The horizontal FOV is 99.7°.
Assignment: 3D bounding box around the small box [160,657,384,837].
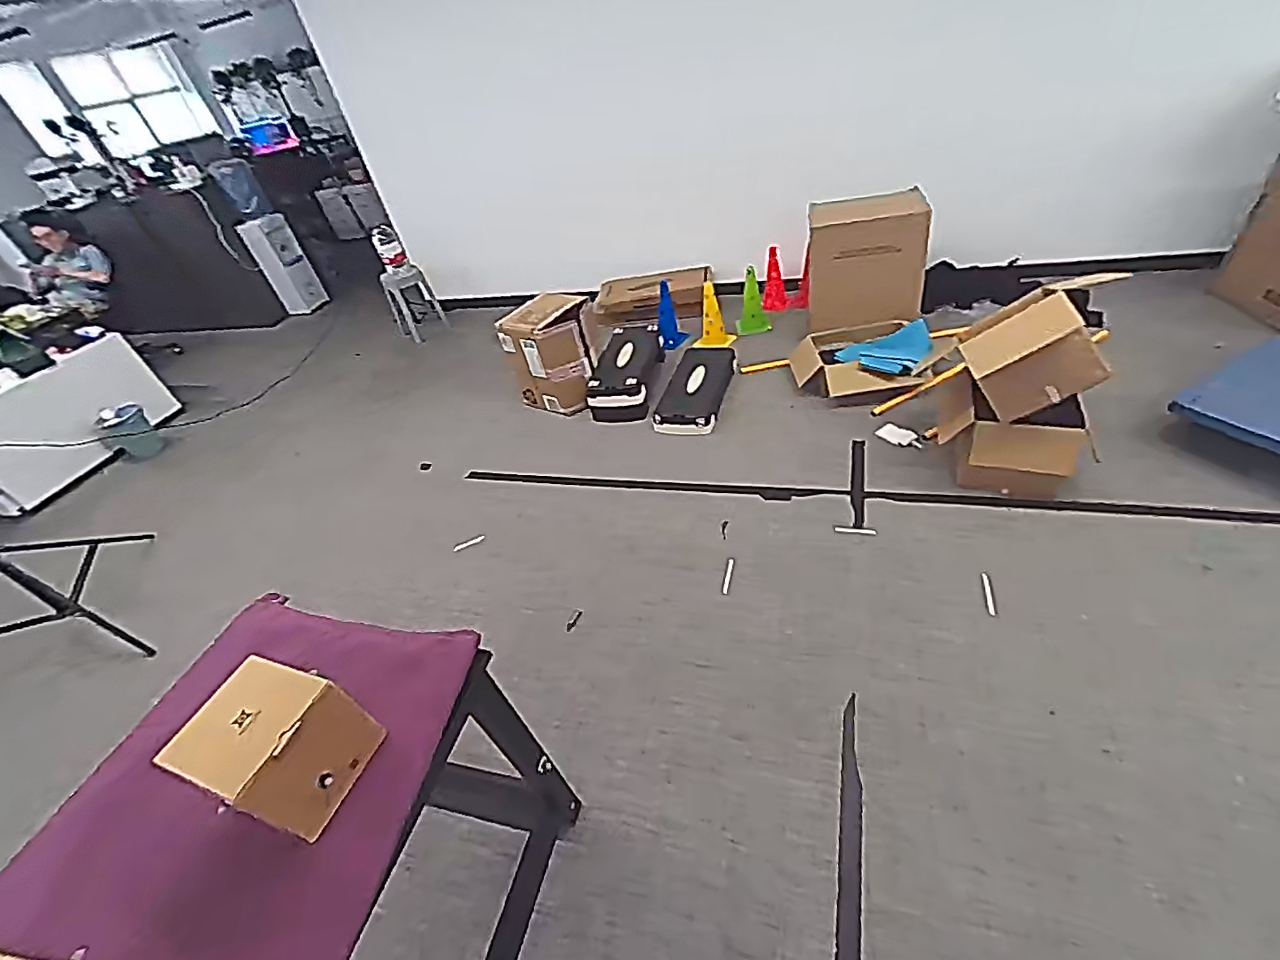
[{"bbox_3d":[-0.526,0.392,0.797,0.179,0.176,0.168,5,44,22],"label":"small box"}]
